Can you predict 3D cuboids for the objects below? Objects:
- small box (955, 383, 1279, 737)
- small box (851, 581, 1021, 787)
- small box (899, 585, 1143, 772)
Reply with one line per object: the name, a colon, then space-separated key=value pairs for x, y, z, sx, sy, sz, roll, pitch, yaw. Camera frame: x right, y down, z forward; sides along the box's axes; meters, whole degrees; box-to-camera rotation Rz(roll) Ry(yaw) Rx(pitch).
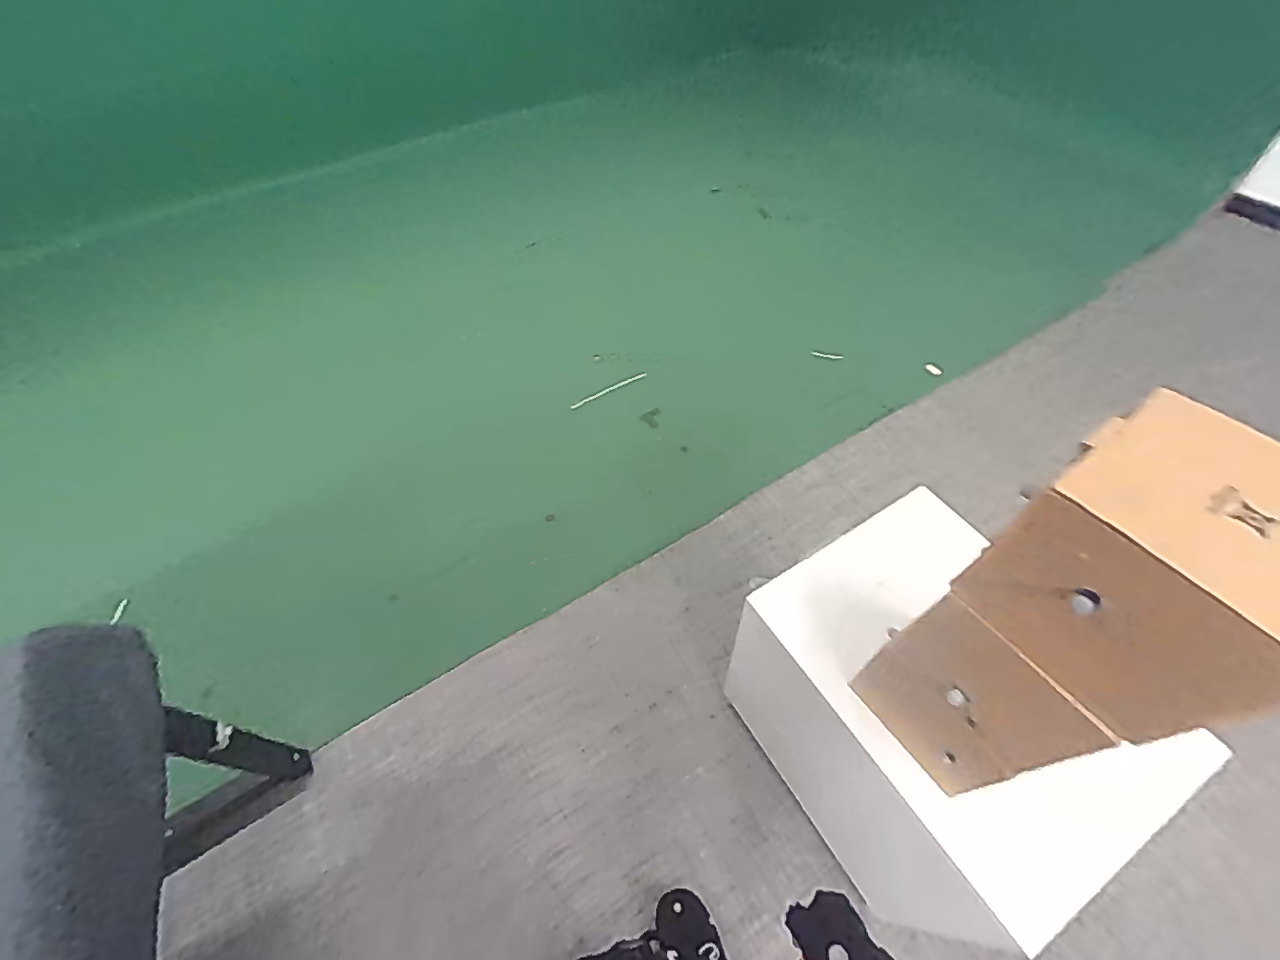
small box: x=0.391 y=0.064 z=0.418 sx=0.168 sy=0.176 sz=0.179 roll=-32 pitch=58 yaw=-18
small box: x=0.403 y=0.258 z=0.682 sx=0.168 sy=0.176 sz=0.179 roll=-30 pitch=56 yaw=-18
small box: x=0.403 y=0.160 z=0.550 sx=0.179 sy=0.176 sz=0.168 roll=-31 pitch=58 yaw=-20
